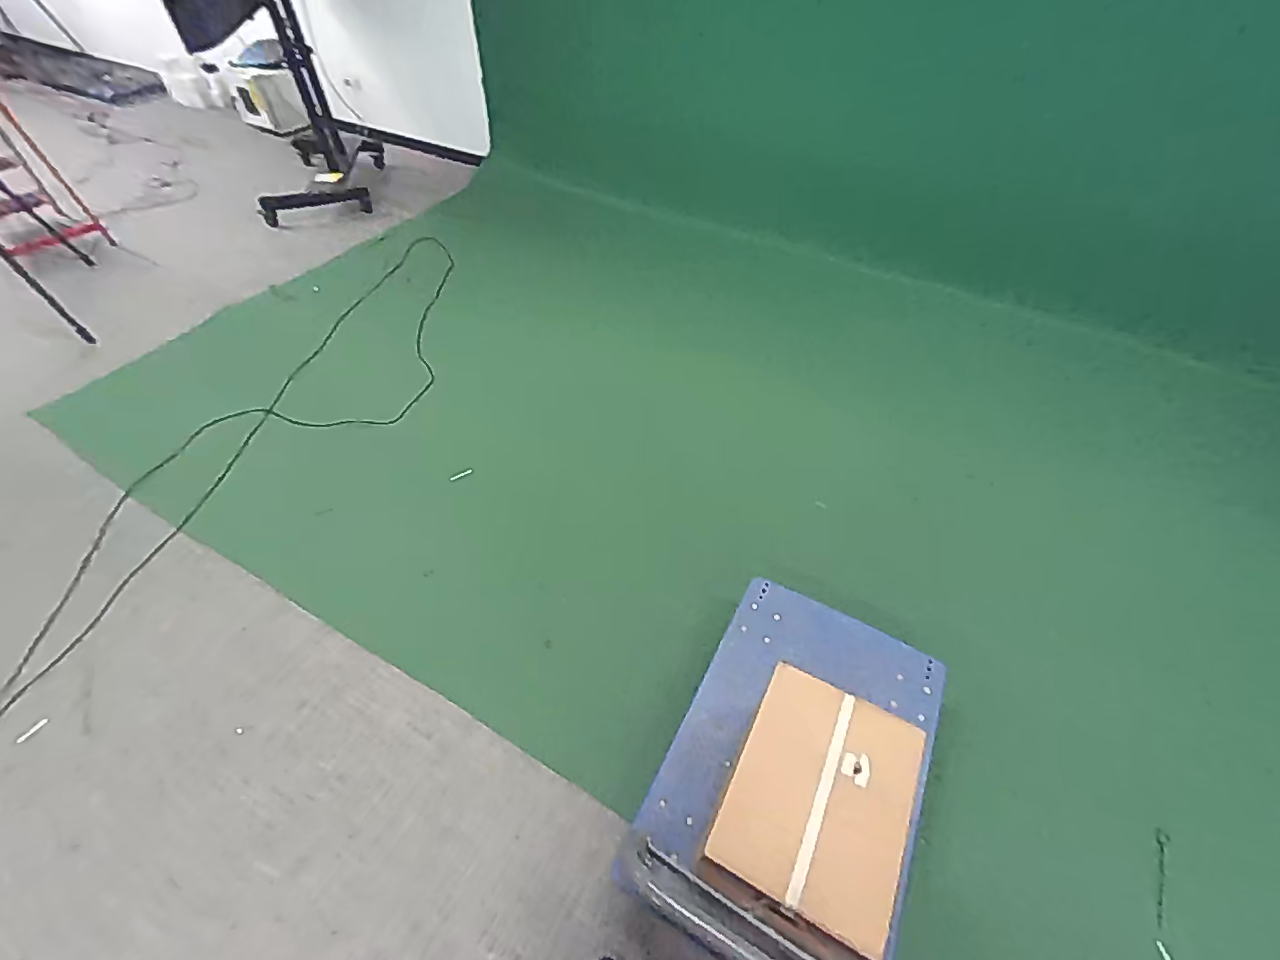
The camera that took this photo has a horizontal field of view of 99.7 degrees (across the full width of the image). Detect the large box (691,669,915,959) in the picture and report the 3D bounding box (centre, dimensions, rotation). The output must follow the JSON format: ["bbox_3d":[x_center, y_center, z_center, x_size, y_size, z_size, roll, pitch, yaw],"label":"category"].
[{"bbox_3d":[0.331,0.698,1.135,0.320,0.320,0.408,23,52,18],"label":"large box"}]
